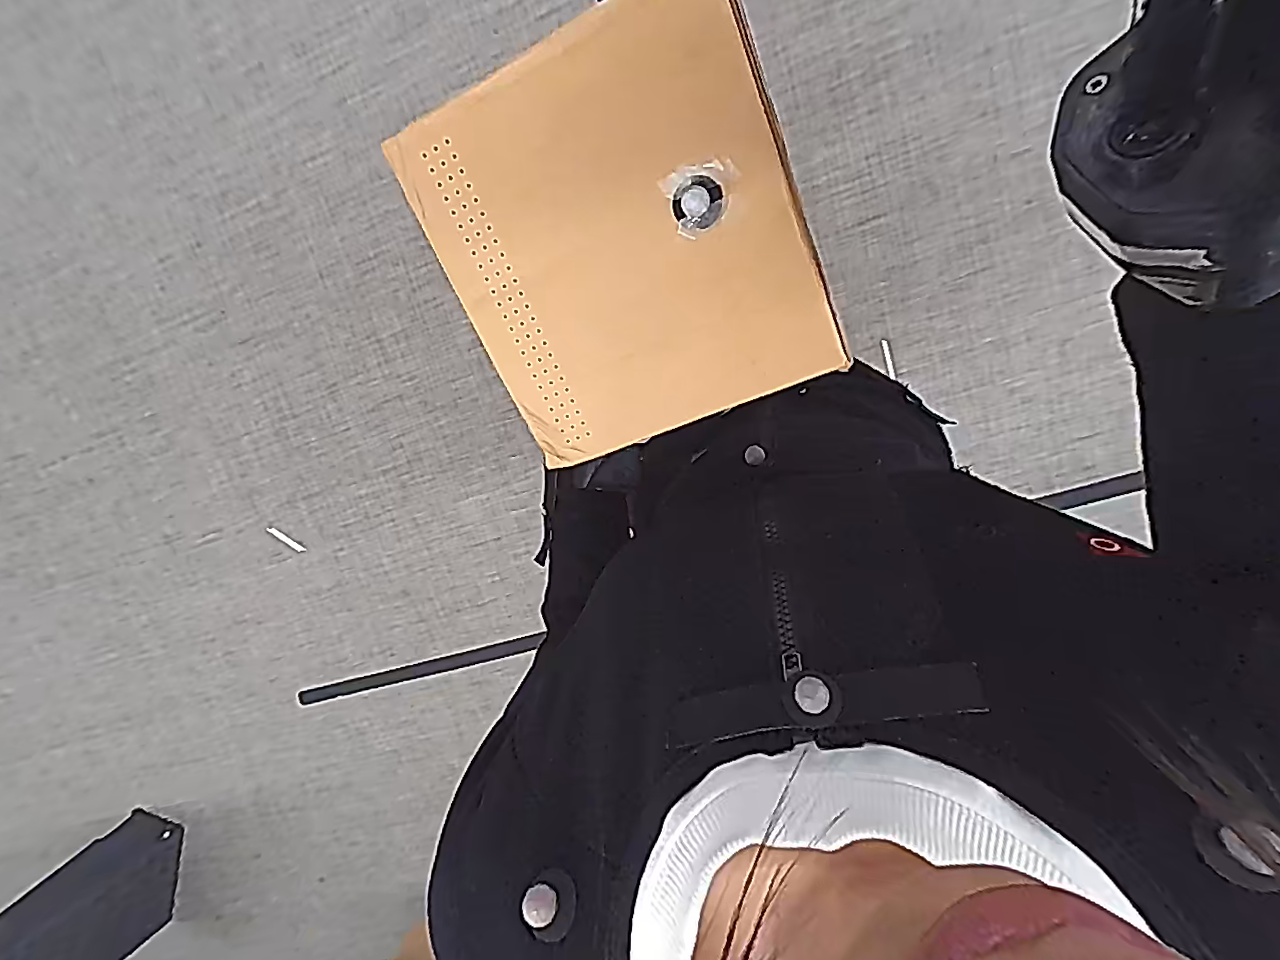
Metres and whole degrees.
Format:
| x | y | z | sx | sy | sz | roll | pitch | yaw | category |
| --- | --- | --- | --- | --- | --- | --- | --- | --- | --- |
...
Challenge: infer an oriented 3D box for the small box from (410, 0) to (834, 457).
| x | y | z | sx | sy | sz | roll | pitch | yaw | category |
| --- | --- | --- | --- | --- | --- | --- | --- | --- | --- |
| -0.001 | -0.139 | 0.334 | 0.176 | 0.168 | 0.179 | -19 | 108 | 19 | small box |
